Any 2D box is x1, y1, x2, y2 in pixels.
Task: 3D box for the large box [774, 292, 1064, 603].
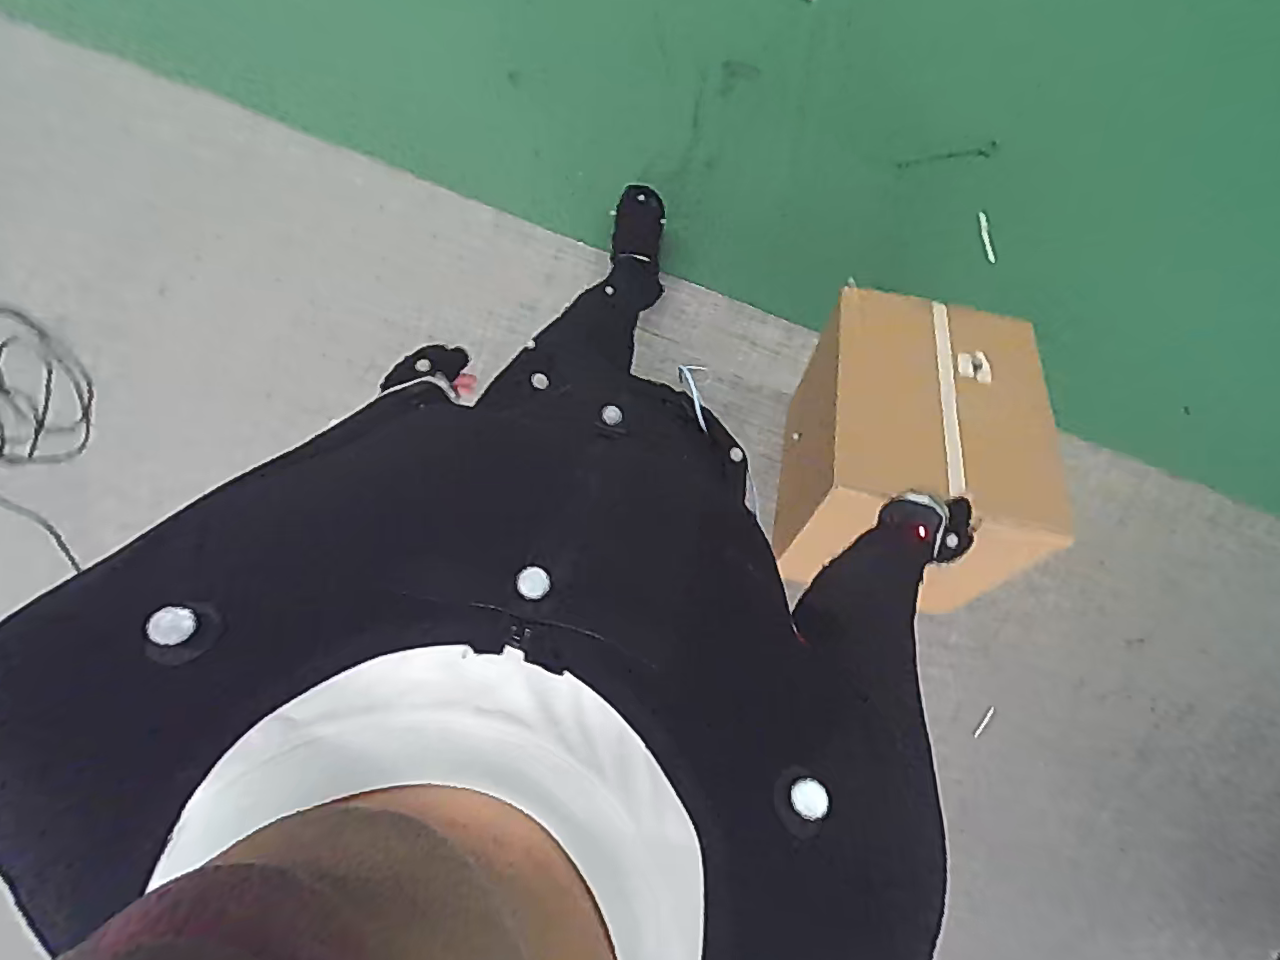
[{"bbox_3d":[0.433,-0.050,0.937,0.320,0.408,0.320,13,148,3],"label":"large box"}]
